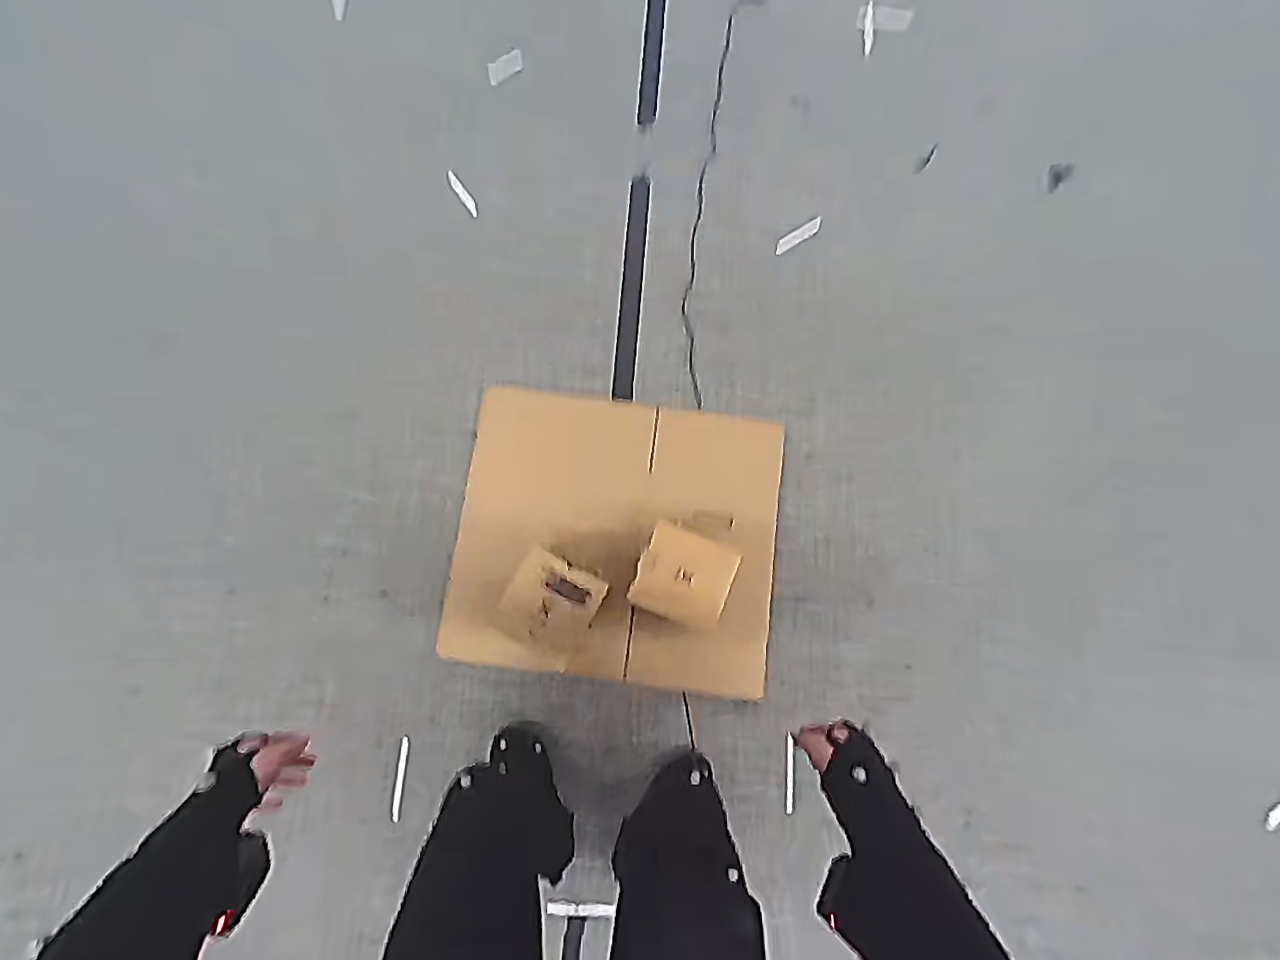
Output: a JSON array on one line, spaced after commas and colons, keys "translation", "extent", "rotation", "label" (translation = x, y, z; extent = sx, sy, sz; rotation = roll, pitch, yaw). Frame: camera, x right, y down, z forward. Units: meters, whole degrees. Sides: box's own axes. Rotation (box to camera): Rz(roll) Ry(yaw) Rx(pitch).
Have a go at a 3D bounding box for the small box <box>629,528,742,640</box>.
[{"translation": [0.091, 0.212, 1.116], "extent": [0.179, 0.176, 0.168], "rotation": [21, 80, 6], "label": "small box"}]
